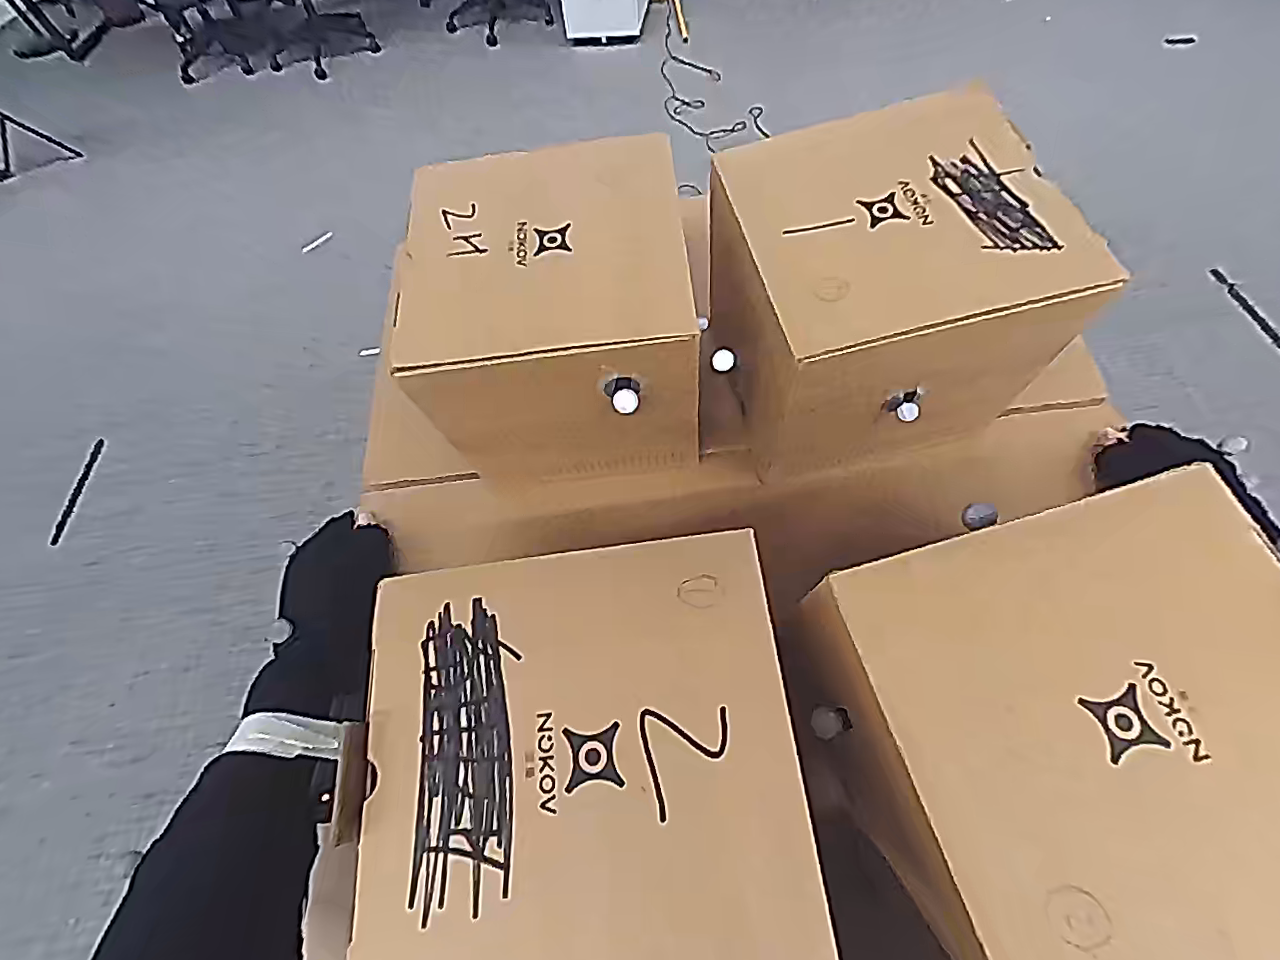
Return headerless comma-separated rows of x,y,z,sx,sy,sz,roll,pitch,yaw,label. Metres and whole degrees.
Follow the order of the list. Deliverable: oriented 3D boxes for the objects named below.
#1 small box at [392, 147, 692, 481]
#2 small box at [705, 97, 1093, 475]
-0.054,-0.110,0.410,0.179,0.176,0.168,-6,66,5,small box
0.149,-0.122,0.390,0.179,0.176,0.168,-14,66,2,small box
